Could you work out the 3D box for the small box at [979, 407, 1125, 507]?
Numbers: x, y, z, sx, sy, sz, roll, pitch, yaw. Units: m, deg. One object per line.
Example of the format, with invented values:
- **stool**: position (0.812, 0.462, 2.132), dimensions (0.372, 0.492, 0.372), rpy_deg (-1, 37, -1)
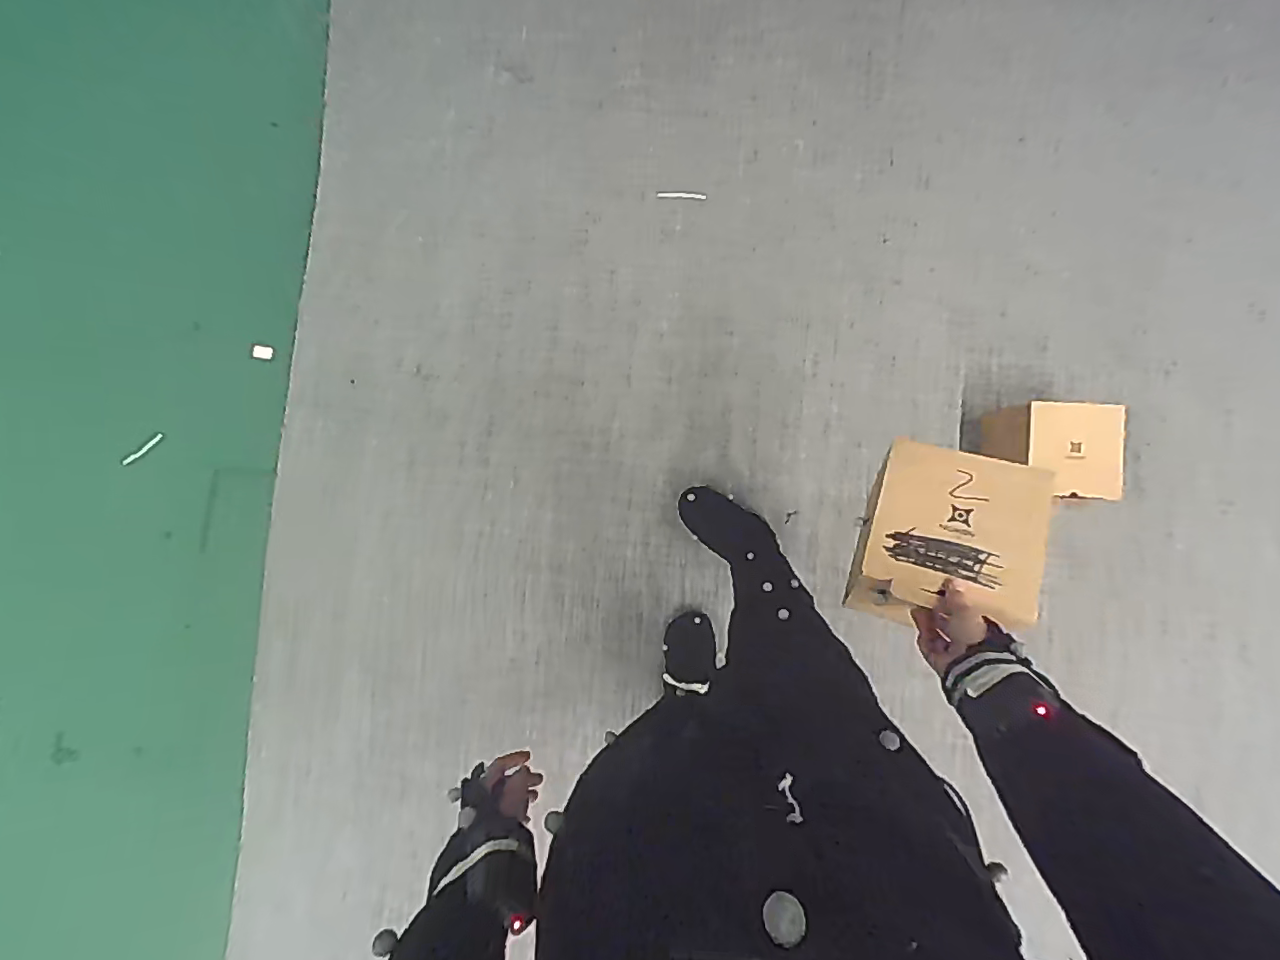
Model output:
- **small box**: position (0.796, -0.040, 1.060), dimensions (0.168, 0.176, 0.179), rpy_deg (3, 88, 4)
